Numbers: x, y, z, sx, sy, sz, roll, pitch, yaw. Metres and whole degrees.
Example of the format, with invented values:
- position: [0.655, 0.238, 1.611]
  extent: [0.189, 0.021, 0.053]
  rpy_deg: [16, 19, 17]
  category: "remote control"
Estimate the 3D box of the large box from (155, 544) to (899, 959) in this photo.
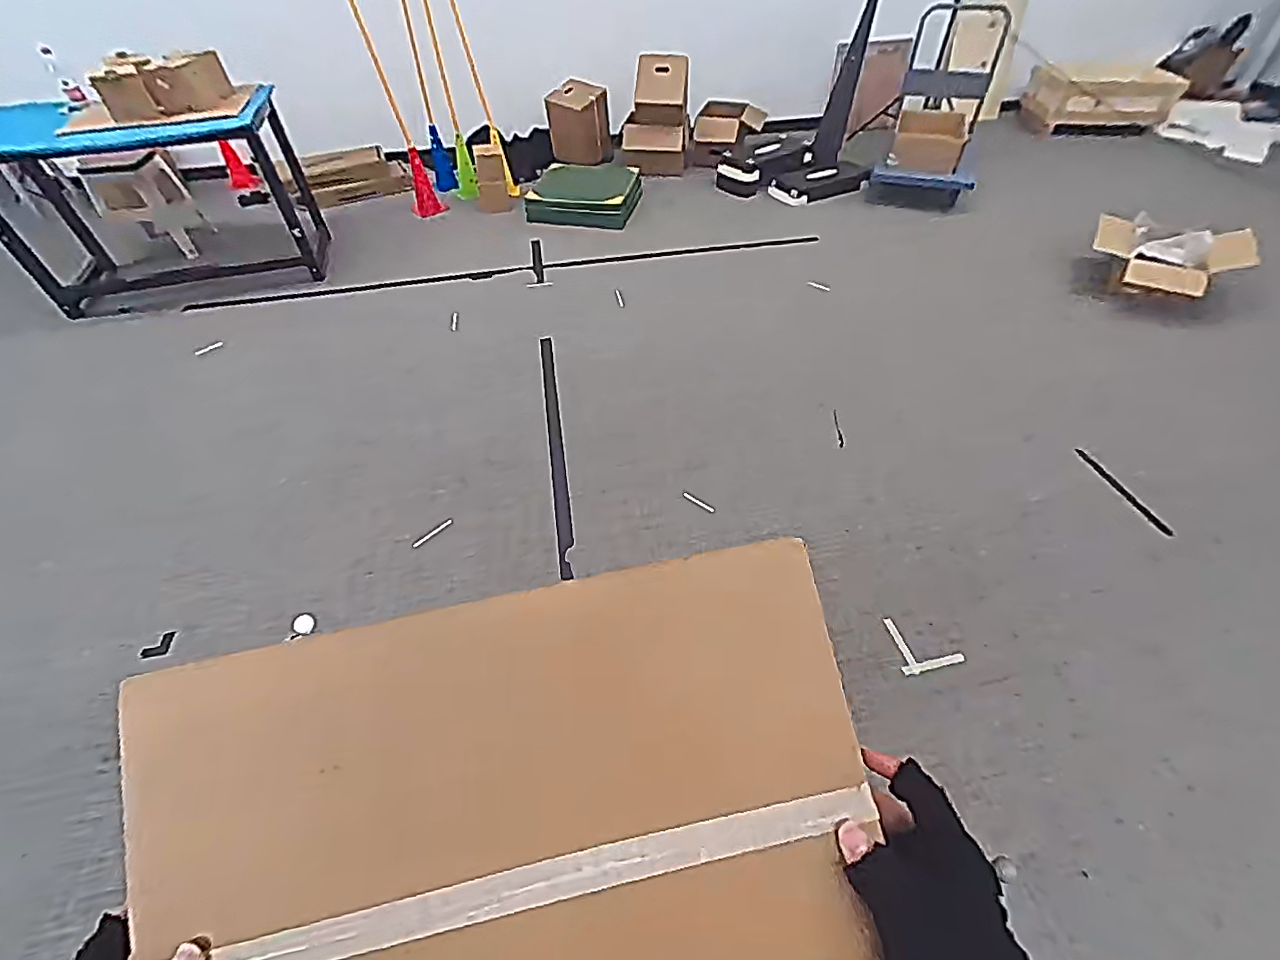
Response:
- position: [-0.070, 0.255, 0.455]
  extent: [0.408, 0.320, 0.320]
  rpy_deg: [-11, 81, -4]
  category: "large box"
